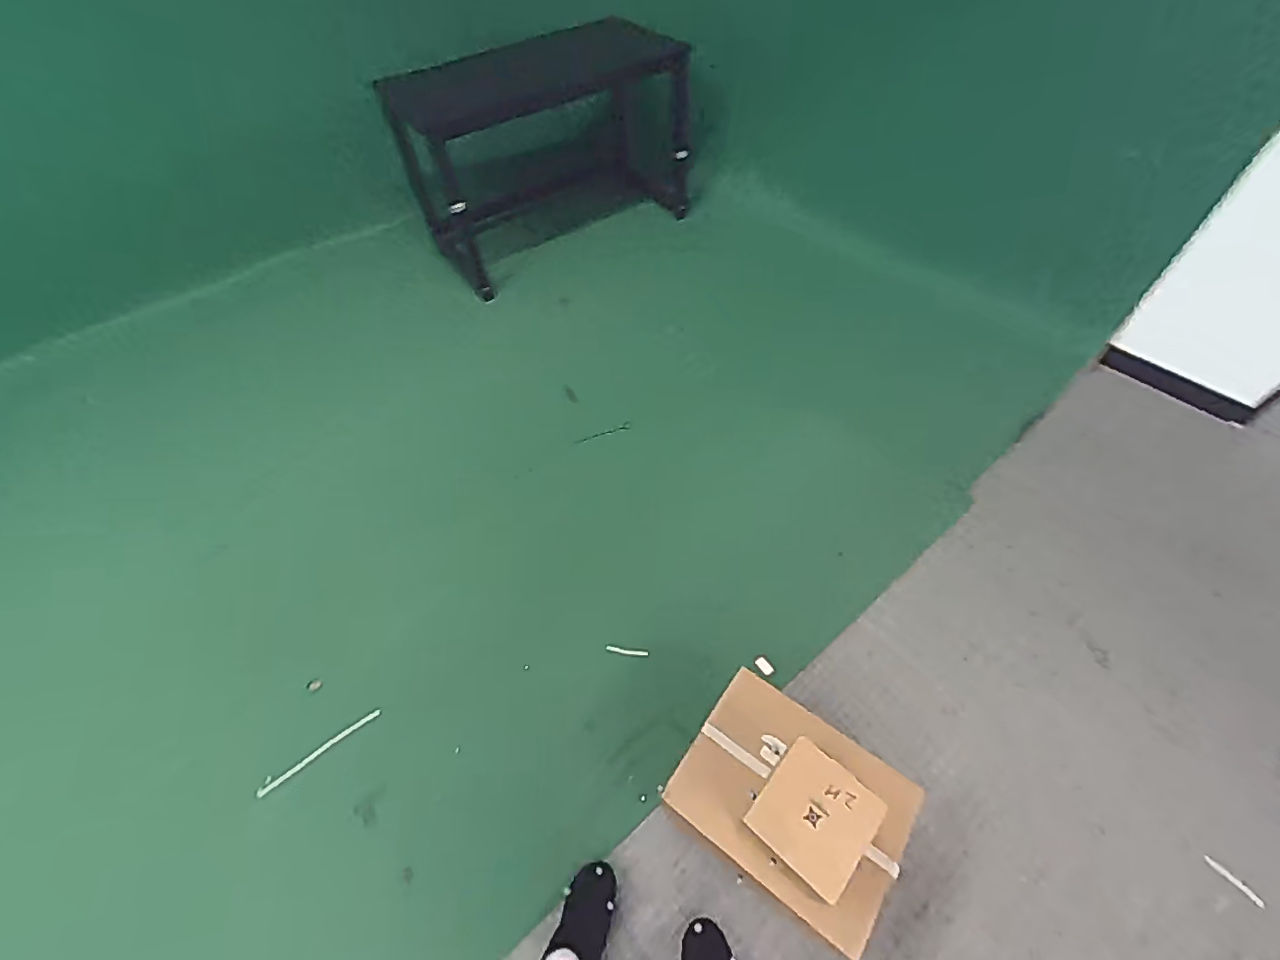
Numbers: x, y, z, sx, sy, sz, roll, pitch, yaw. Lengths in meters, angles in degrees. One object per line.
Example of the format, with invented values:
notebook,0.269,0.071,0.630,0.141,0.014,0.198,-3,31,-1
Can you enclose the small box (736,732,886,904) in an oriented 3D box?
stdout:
small box,0.279,0.571,0.919,0.168,0.176,0.179,36,64,24

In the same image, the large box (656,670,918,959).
large box,0.288,0.686,1.142,0.408,0.320,0.320,30,59,24
